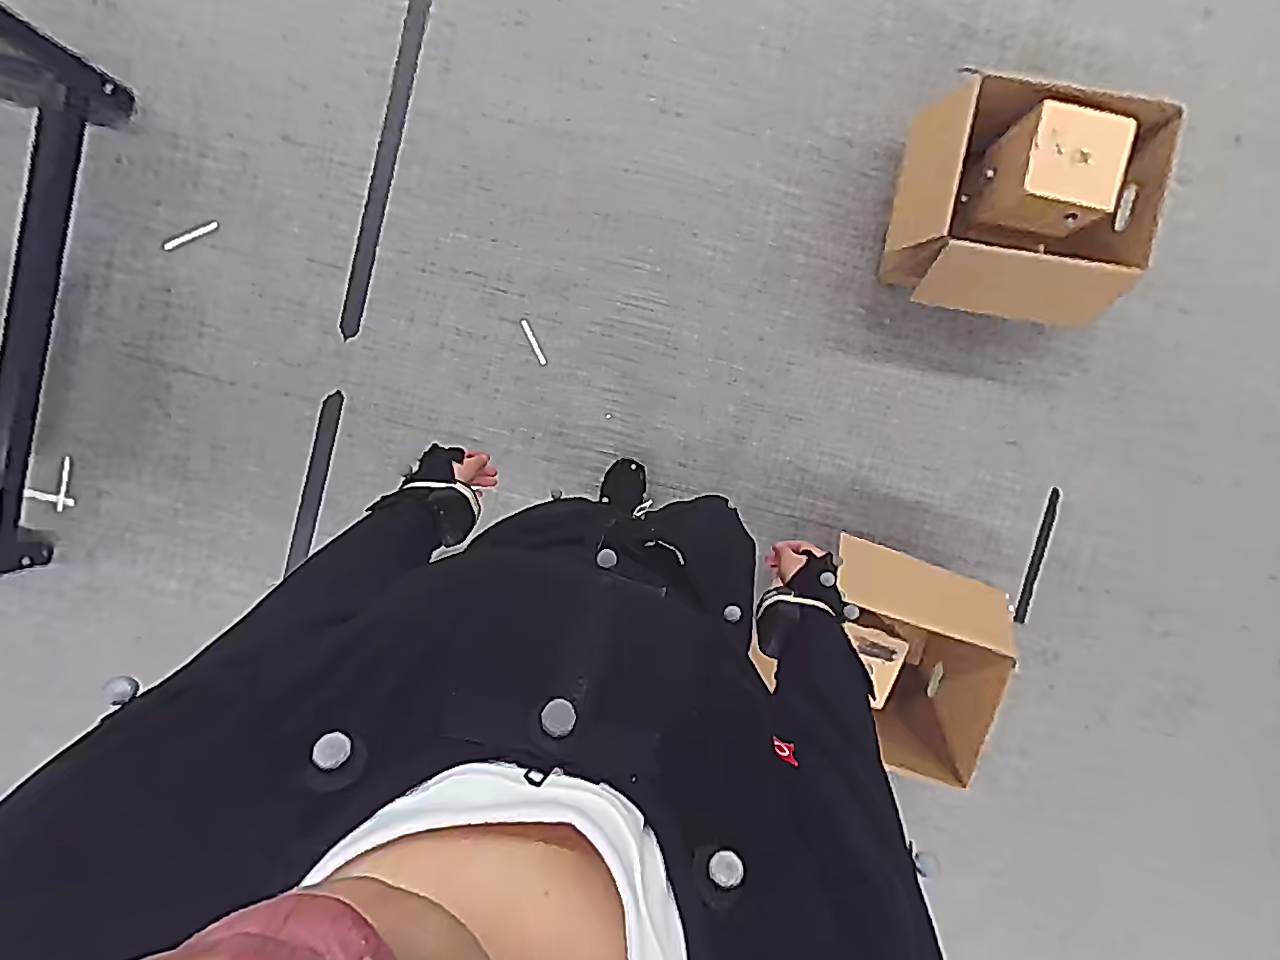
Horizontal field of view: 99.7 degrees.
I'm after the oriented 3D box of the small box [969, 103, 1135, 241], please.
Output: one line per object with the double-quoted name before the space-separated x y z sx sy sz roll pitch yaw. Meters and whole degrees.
"small box" 0.801 -0.594 1.069 0.179 0.176 0.168 13 94 -1
